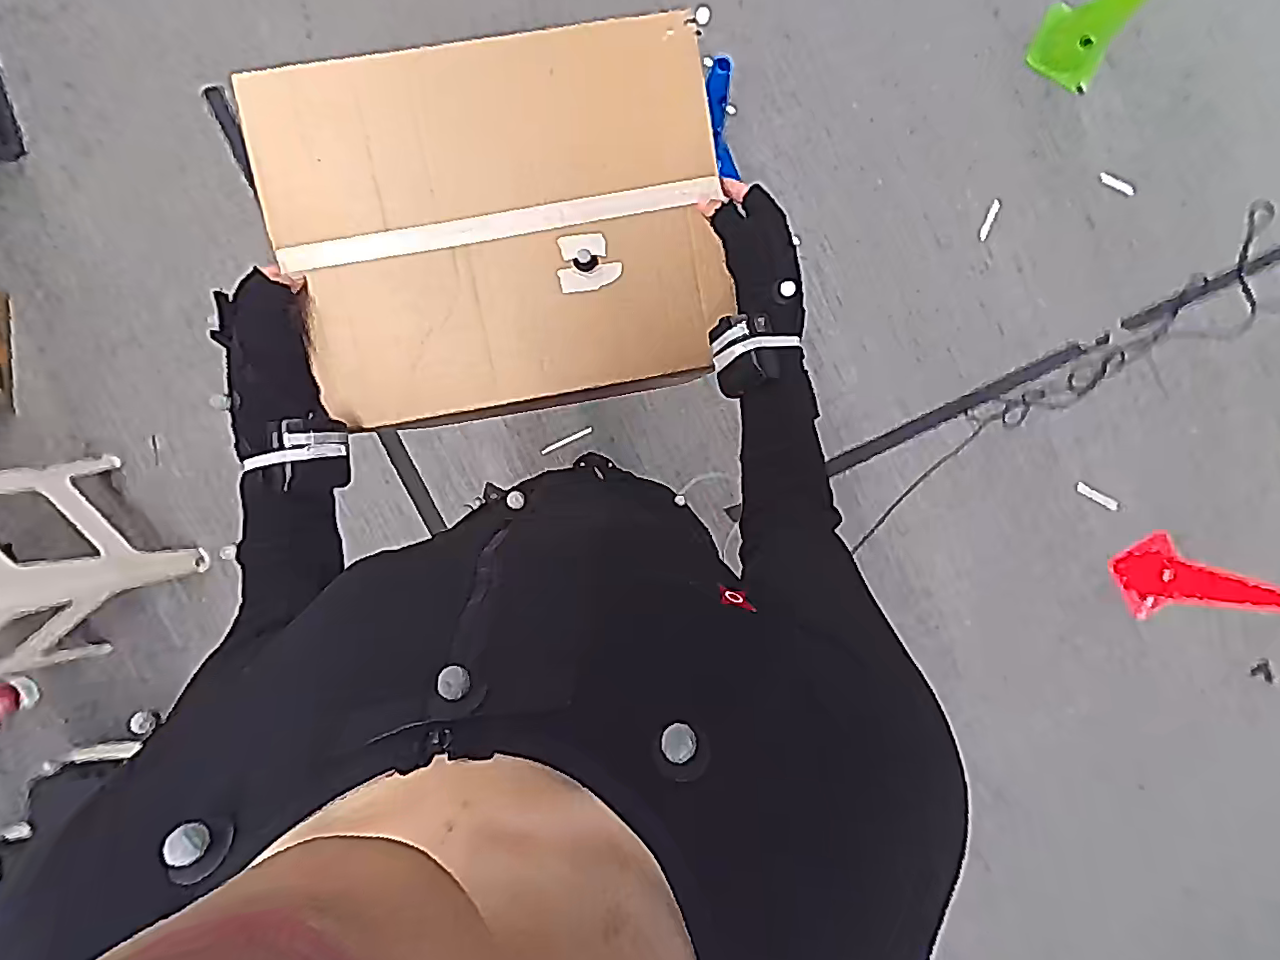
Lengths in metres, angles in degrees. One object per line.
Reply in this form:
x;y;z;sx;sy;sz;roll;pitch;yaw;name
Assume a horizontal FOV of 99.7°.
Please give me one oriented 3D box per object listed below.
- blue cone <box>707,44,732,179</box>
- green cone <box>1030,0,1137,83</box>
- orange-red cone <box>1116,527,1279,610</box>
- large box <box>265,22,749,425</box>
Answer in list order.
0.154;-0.888;1.317;0.193;0.380;0.192;-23;92;-3;blue cone
1.228;-1.244;1.352;0.202;0.368;0.200;26;89;-2;green cone
1.521;0.264;1.413;0.199;0.360;0.198;-29;94;-4;orange-red cone
-0.124;-0.250;0.647;0.408;0.320;0.320;-10;97;-3;large box
